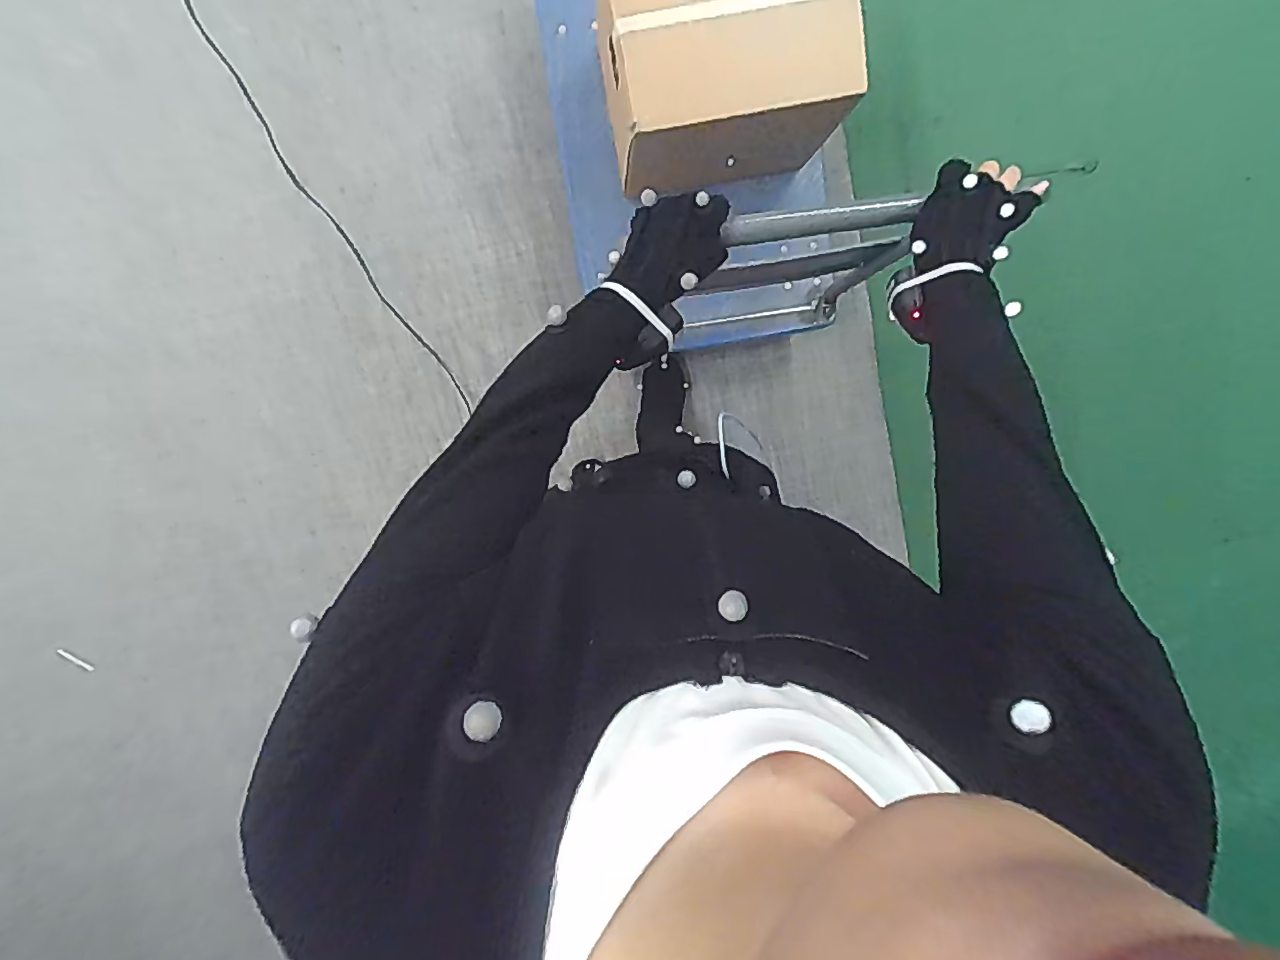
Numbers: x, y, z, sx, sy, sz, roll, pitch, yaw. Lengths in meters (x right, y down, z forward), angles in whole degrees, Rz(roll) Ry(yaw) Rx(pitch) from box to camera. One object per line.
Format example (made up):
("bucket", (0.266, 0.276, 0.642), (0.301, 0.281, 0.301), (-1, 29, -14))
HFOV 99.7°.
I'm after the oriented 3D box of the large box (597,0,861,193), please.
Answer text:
("large box", (0.145, -0.795, 1.032), (0.408, 0.320, 0.320), (-12, 99, -1))
